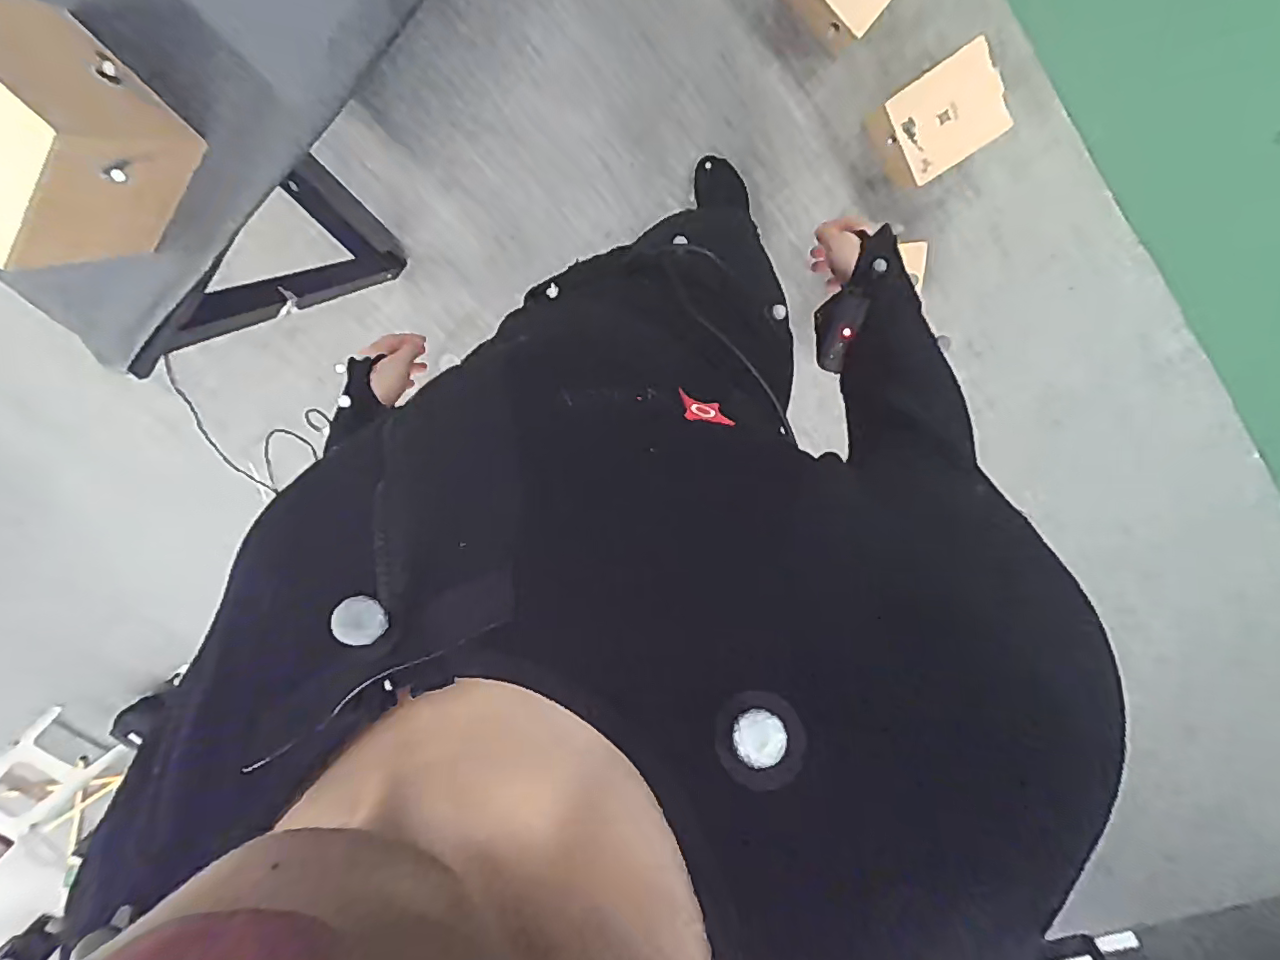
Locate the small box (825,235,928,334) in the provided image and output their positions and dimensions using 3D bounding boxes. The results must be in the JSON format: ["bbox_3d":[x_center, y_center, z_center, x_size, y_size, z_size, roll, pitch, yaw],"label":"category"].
[{"bbox_3d":[0.512,-0.435,1.197,0.168,0.176,0.179,-1,119,8],"label":"small box"}]

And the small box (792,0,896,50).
[{"bbox_3d":[0.379,-0.903,0.950,0.179,0.176,0.168,38,117,-13],"label":"small box"}]

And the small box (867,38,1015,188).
[{"bbox_3d":[0.570,-0.695,1.042,0.179,0.176,0.168,-28,113,21],"label":"small box"}]
